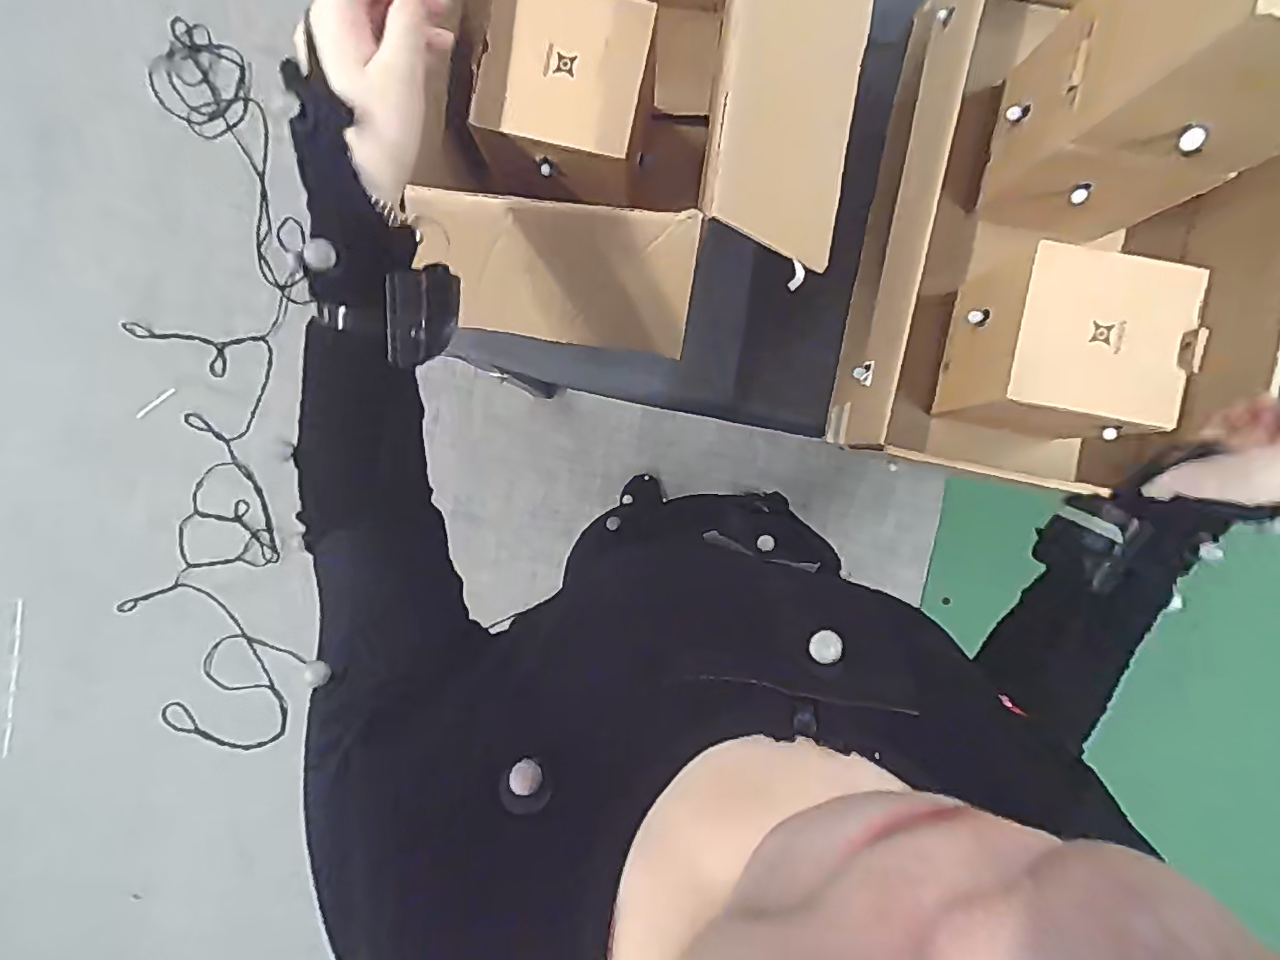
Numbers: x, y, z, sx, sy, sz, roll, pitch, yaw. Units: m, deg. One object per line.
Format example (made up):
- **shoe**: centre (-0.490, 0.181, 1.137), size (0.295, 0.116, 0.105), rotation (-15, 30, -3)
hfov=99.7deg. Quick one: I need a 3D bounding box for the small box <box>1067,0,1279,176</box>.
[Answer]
- **small box**: centre (0.516, -0.399, 0.458), size (0.168, 0.176, 0.179), rotation (12, 96, 0)
